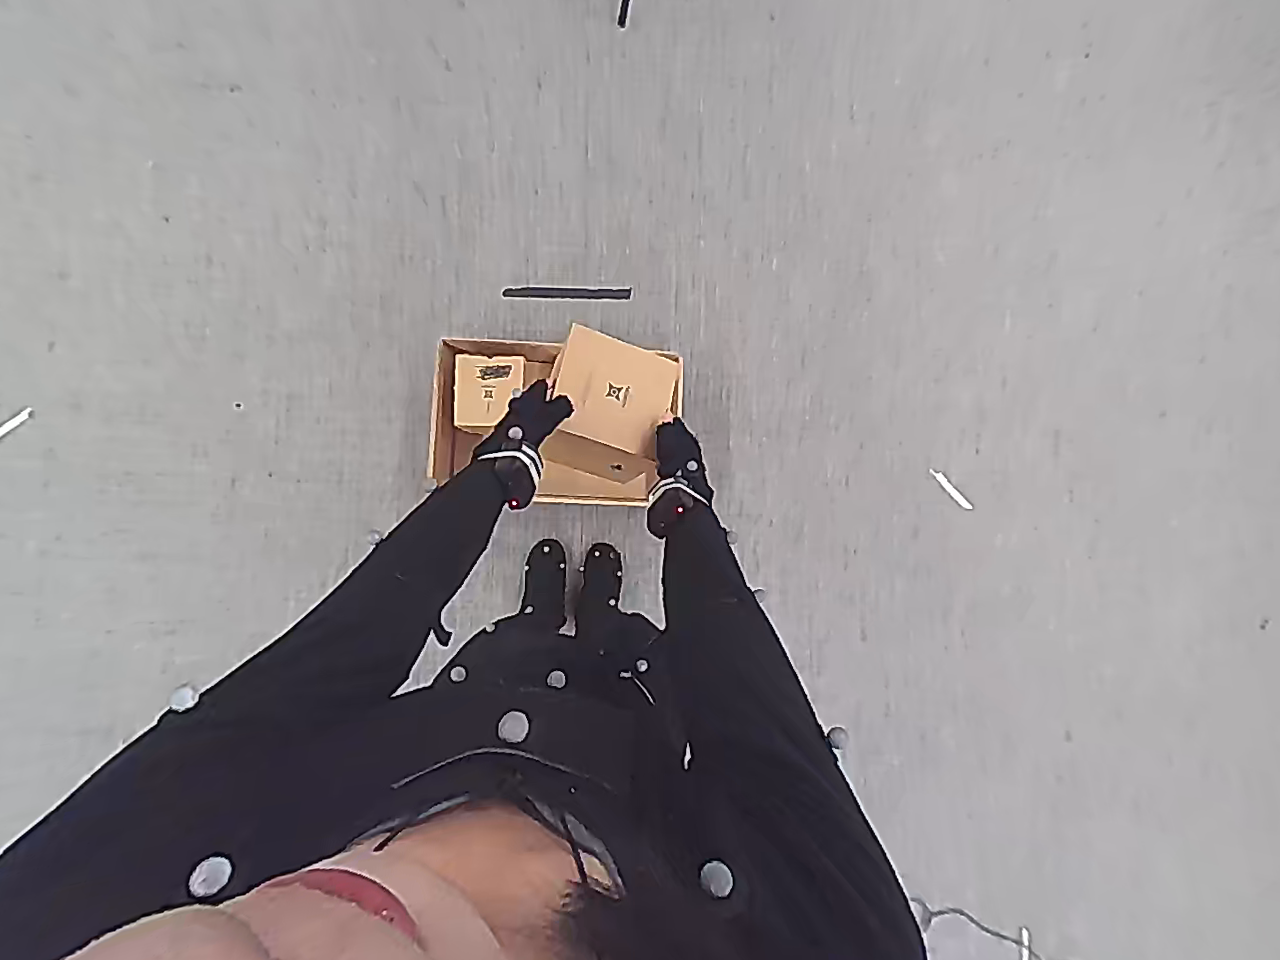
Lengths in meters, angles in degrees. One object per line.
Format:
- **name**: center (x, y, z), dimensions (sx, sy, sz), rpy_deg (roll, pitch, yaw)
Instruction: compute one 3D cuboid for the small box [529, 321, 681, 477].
- **small box**: center (-0.059, -0.111, 0.841), dimensions (0.179, 0.176, 0.168), rpy_deg (17, 73, -15)
